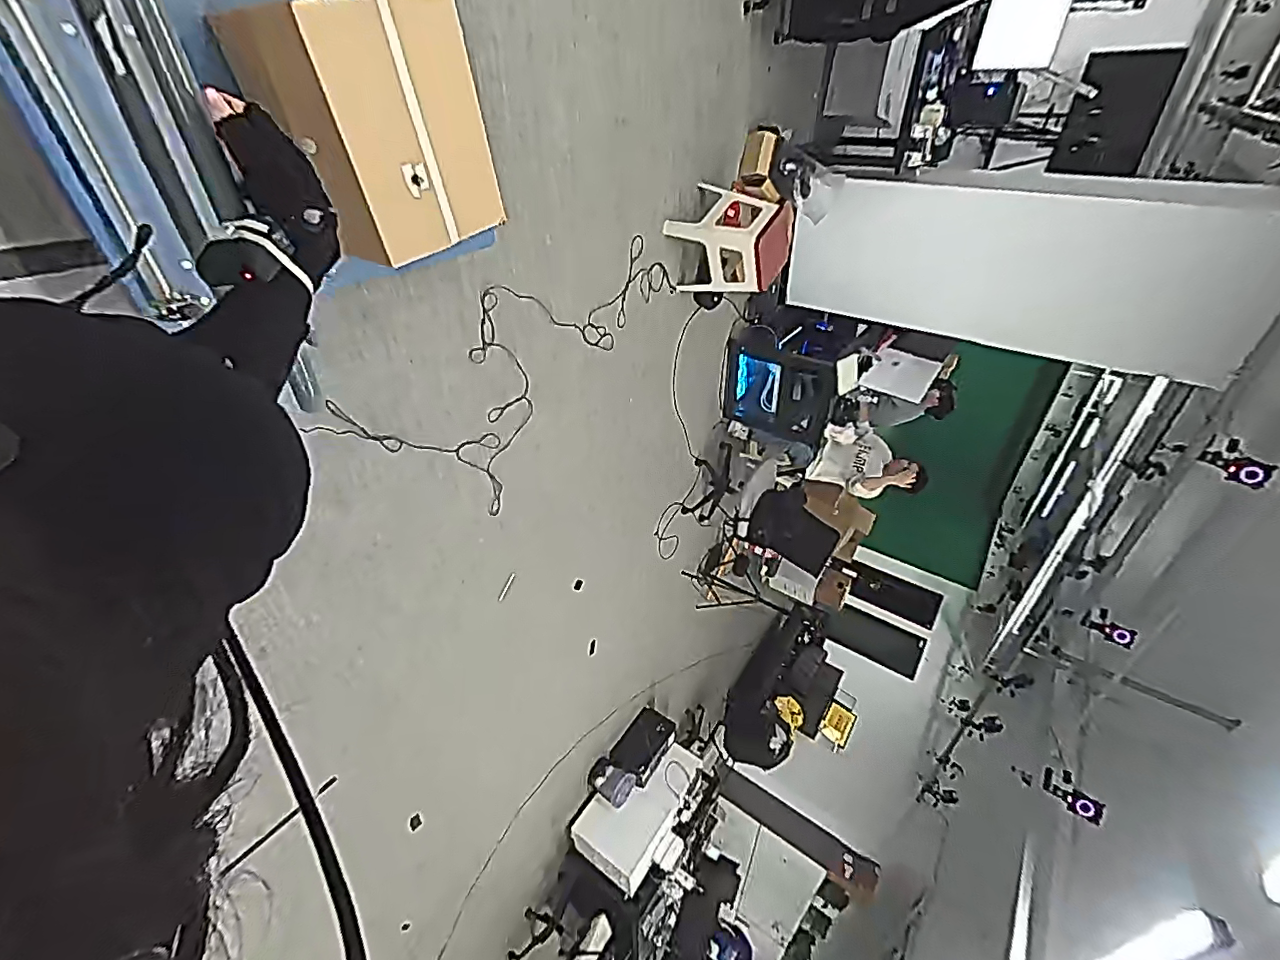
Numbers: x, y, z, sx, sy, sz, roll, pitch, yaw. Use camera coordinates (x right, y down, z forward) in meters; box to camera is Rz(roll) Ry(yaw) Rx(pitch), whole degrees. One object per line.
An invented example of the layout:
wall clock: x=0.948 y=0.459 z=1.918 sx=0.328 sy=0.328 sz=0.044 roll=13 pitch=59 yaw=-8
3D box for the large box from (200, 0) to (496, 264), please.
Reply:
large box: x=-0.553 y=-0.711 z=1.091 sx=0.320 sy=0.320 sz=0.408 roll=-44 pitch=145 yaw=-35
